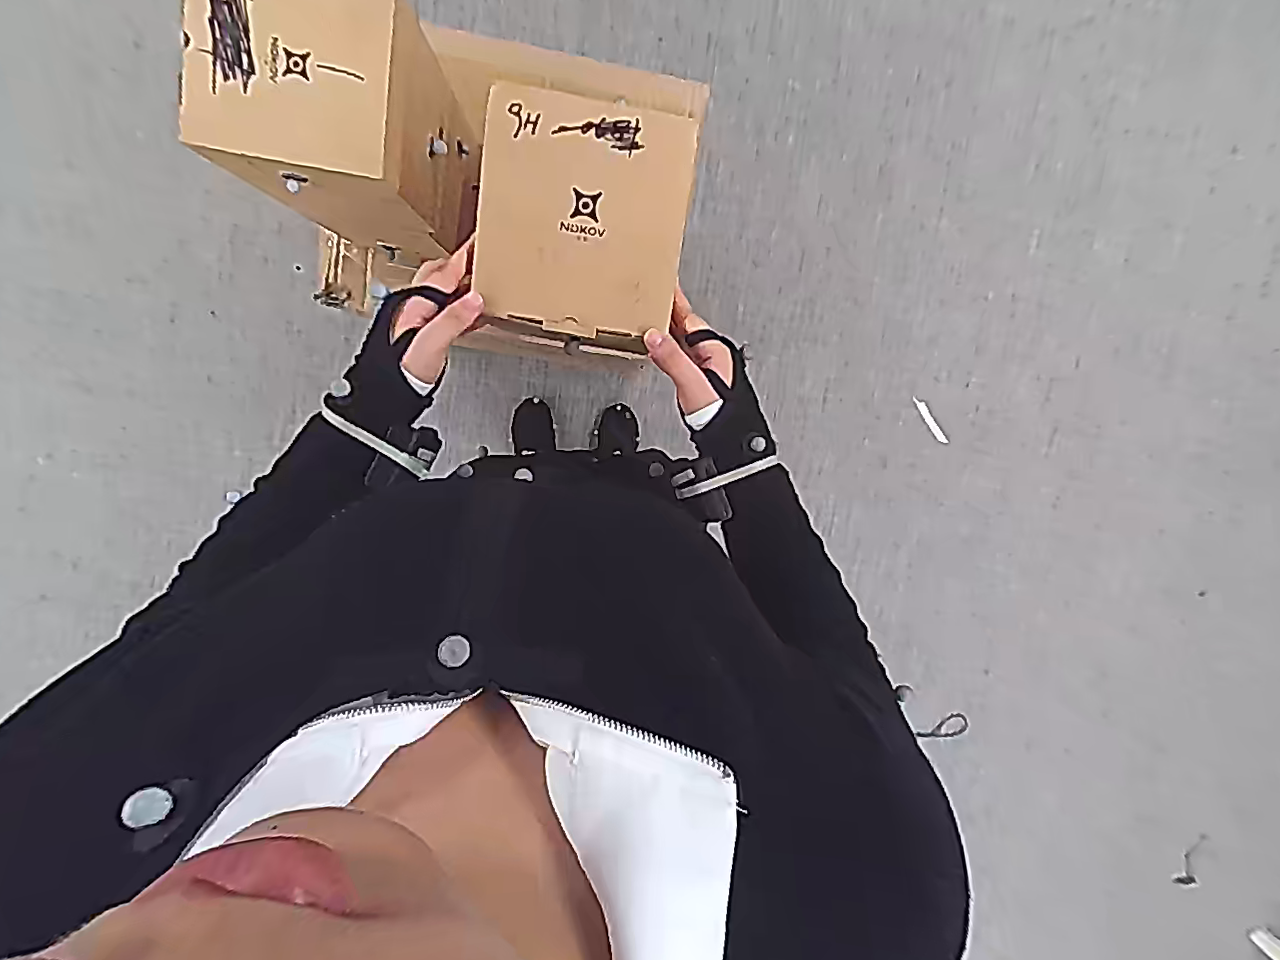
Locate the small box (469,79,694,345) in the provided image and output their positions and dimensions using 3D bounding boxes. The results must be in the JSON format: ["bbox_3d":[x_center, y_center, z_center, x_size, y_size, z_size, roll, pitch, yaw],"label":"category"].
[{"bbox_3d":[-0.053,-0.230,0.516,0.168,0.176,0.179,8,100,-5],"label":"small box"}]

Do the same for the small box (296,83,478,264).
[{"bbox_3d":[-0.320,-0.404,0.713,0.168,0.176,0.179,8,100,-4],"label":"small box"}]

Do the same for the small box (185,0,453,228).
[{"bbox_3d":[-0.309,-0.376,0.551,0.179,0.176,0.168,8,99,-5],"label":"small box"}]
